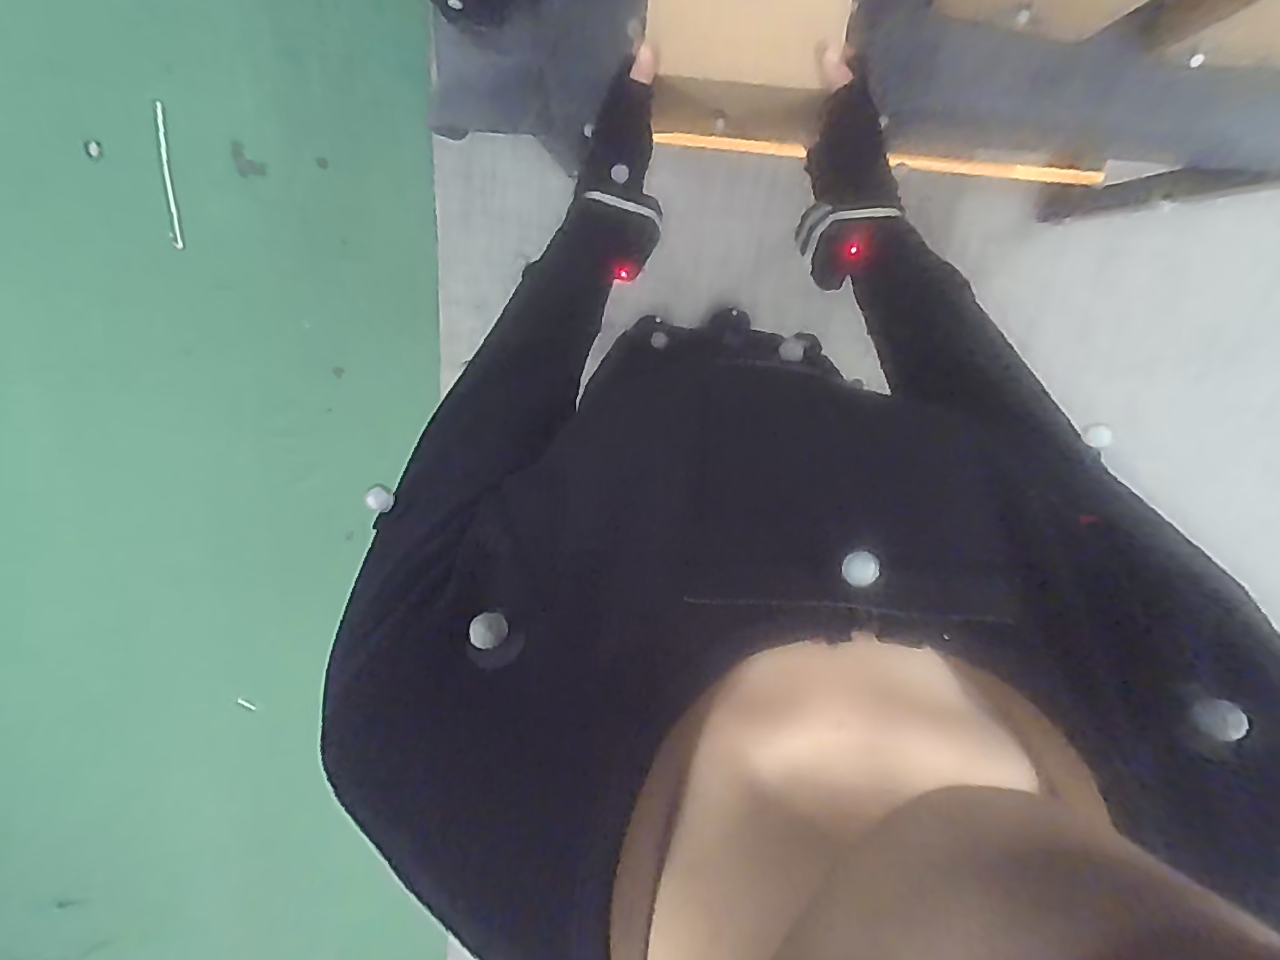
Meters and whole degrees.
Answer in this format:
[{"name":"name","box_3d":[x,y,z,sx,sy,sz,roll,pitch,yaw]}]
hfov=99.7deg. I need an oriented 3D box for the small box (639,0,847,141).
[{"name":"small box","box_3d":[0.091,-0.438,0.502,0.168,0.176,0.179,6,108,0]}]
